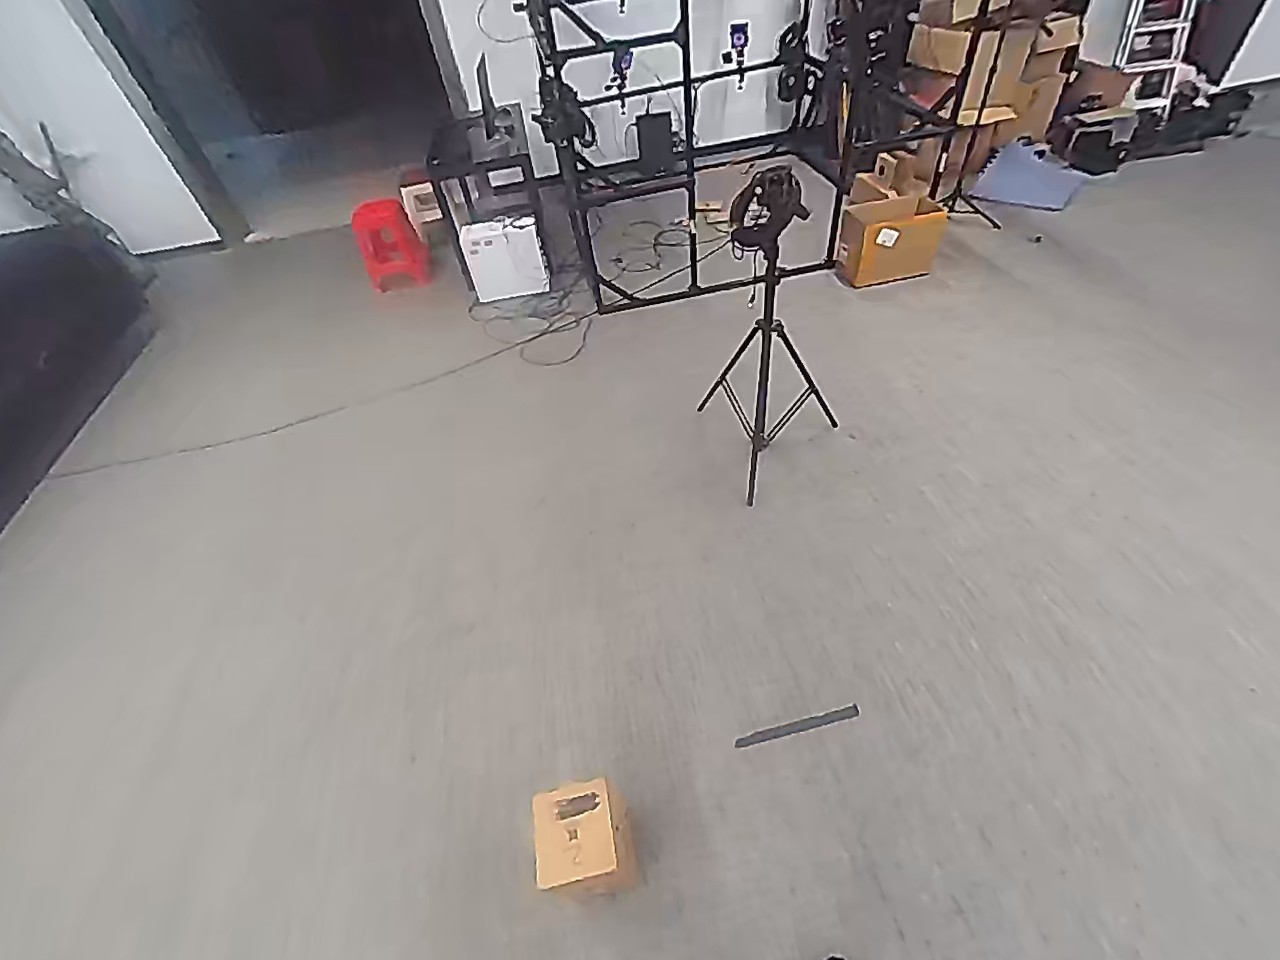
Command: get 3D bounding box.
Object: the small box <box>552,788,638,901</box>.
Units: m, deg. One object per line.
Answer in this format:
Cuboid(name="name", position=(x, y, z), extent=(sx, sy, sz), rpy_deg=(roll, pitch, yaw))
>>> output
Cuboid(name="small box", position=(-0.108, 0.888, 1.317), extent=(0.168, 0.176, 0.179), rpy_deg=(-15, 46, -4))
